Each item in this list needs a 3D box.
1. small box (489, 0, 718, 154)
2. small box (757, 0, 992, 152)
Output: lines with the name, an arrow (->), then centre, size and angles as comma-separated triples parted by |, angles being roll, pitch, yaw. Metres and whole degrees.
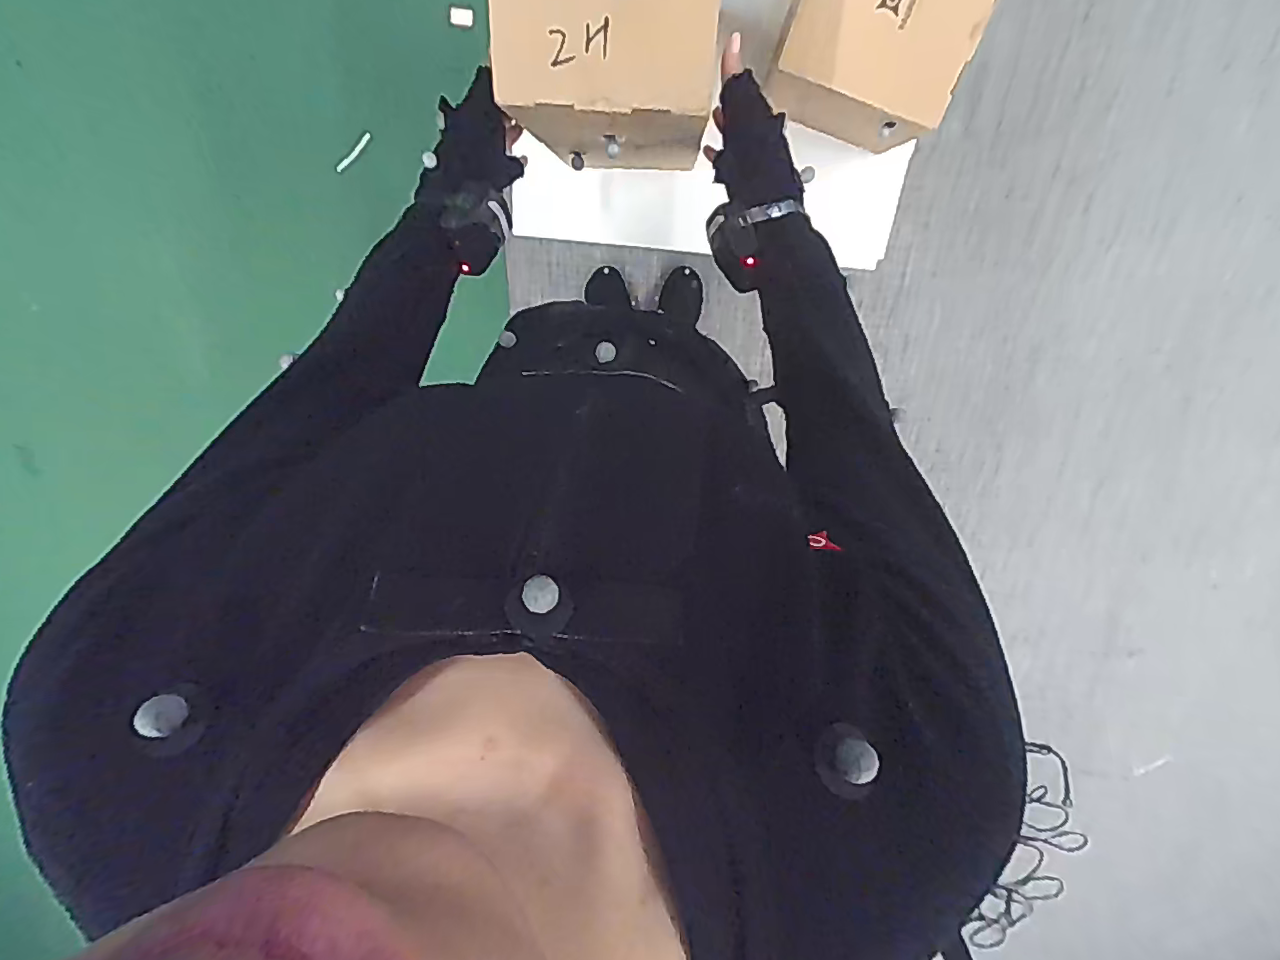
small box -> -0.023, -0.390, 0.450 | 0.168, 0.176, 0.179 | 4, 113, 1
small box -> 0.241, -0.477, 0.581 | 0.179, 0.176, 0.168 | 17, 113, -5
